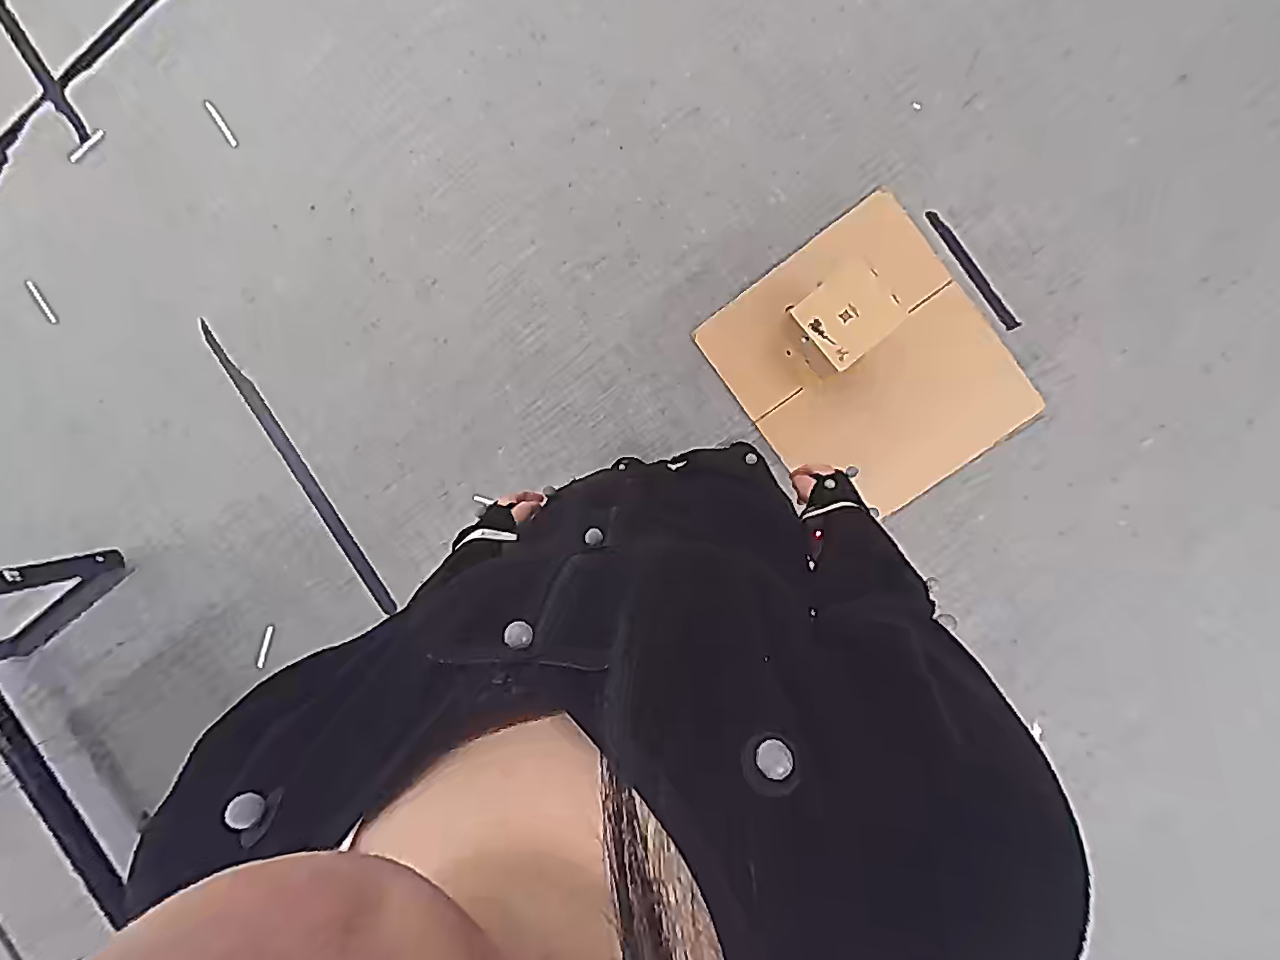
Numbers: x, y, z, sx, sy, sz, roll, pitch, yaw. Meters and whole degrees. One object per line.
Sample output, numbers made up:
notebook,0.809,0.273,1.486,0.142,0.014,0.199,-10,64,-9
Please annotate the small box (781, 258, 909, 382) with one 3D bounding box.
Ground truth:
small box,0.429,-0.333,1.164,0.179,0.176,0.168,-39,89,7

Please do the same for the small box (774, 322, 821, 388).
small box,0.445,-0.343,1.328,0.179,0.176,0.168,-38,89,8
